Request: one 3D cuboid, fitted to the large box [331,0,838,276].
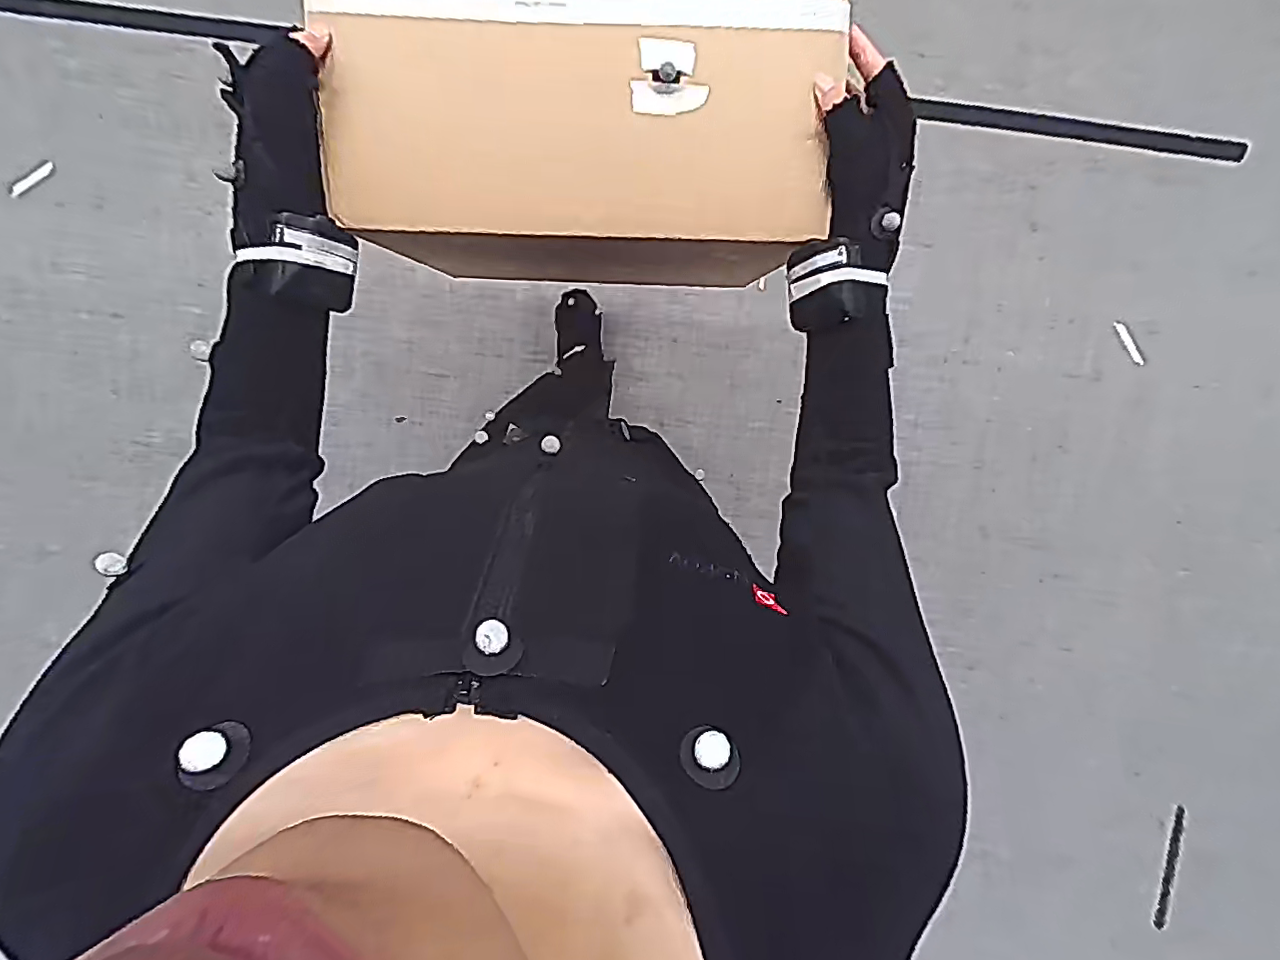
[{"bbox_3d":[-0.048,-0.398,0.567,0.408,0.320,0.320,0,104,-2],"label":"large box"}]
